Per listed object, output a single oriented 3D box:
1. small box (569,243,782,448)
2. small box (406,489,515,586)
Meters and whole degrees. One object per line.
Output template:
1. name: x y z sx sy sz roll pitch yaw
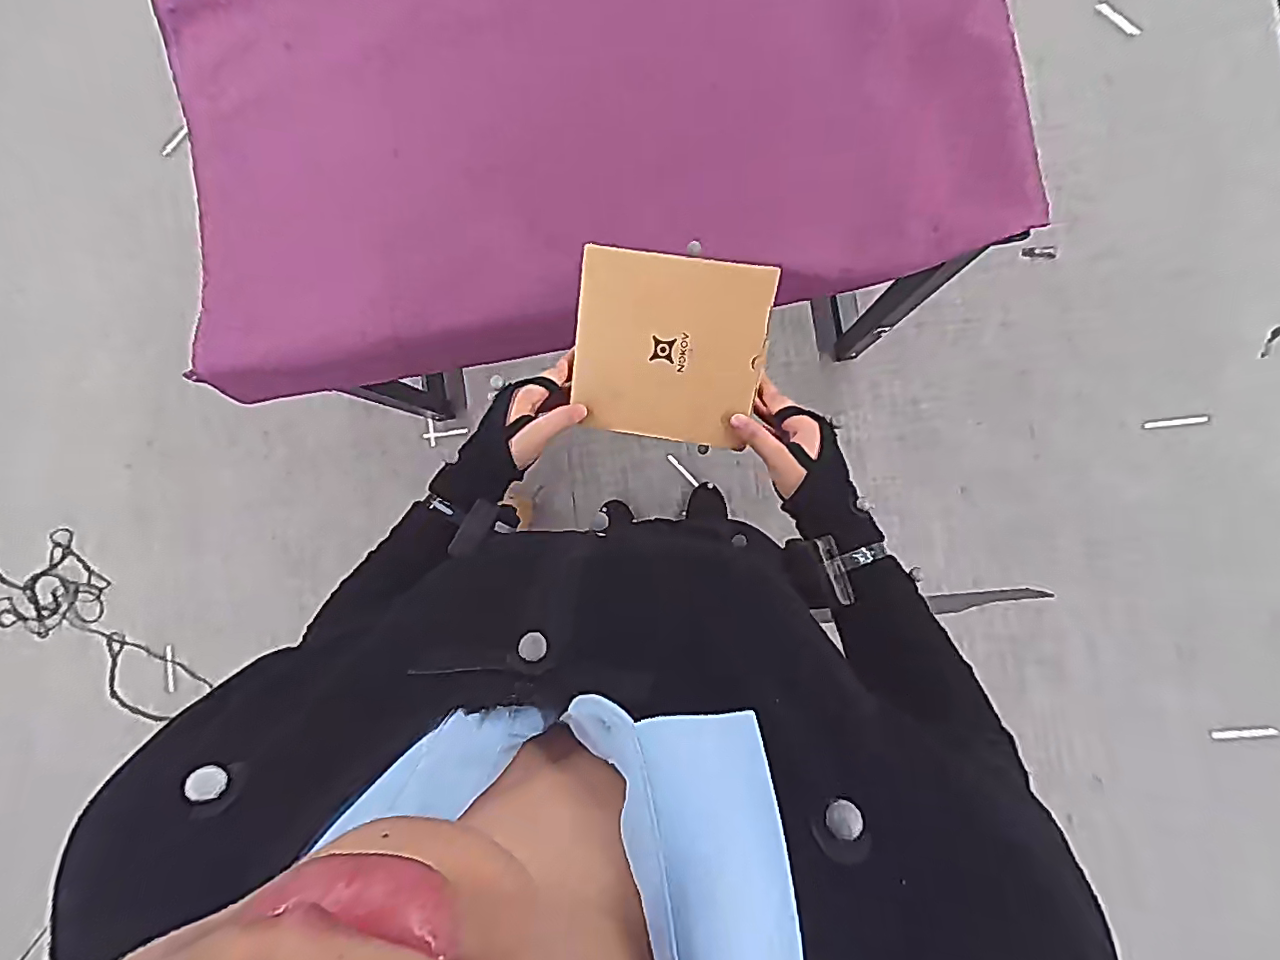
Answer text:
1. small box: 0.036 -0.139 0.571 0.179 0.176 0.168 9 106 3
2. small box: -0.416 0.129 1.290 0.168 0.176 0.179 21 91 5
